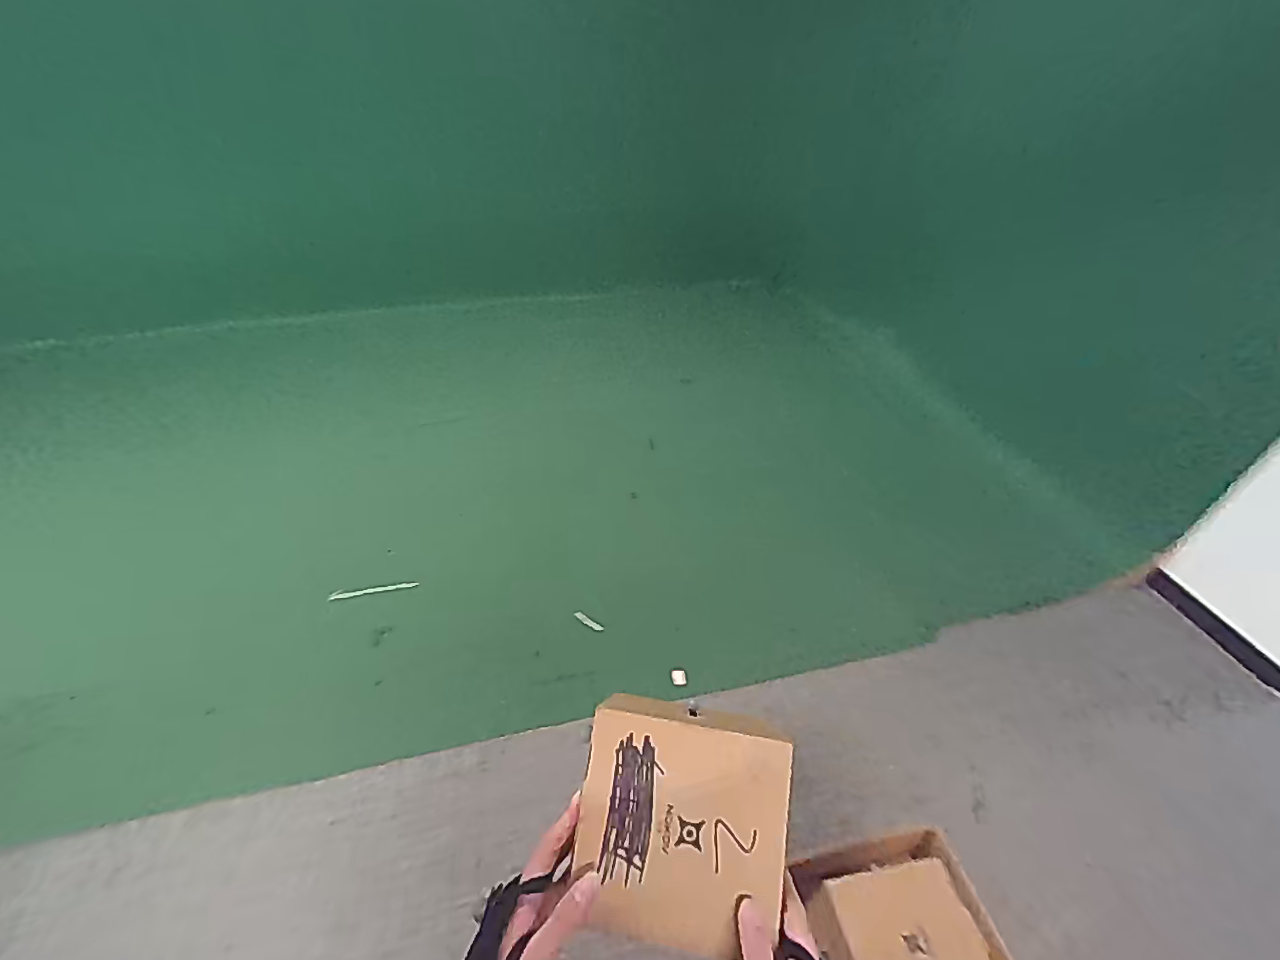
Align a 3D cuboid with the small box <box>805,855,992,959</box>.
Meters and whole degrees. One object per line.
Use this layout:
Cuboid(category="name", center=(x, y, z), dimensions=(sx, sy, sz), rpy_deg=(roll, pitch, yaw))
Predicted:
Cuboid(category="small box", center=(0.355, 0.654, 0.754), dimensions=(0.179, 0.176, 0.168), rpy_deg=(-6, 41, -7))
